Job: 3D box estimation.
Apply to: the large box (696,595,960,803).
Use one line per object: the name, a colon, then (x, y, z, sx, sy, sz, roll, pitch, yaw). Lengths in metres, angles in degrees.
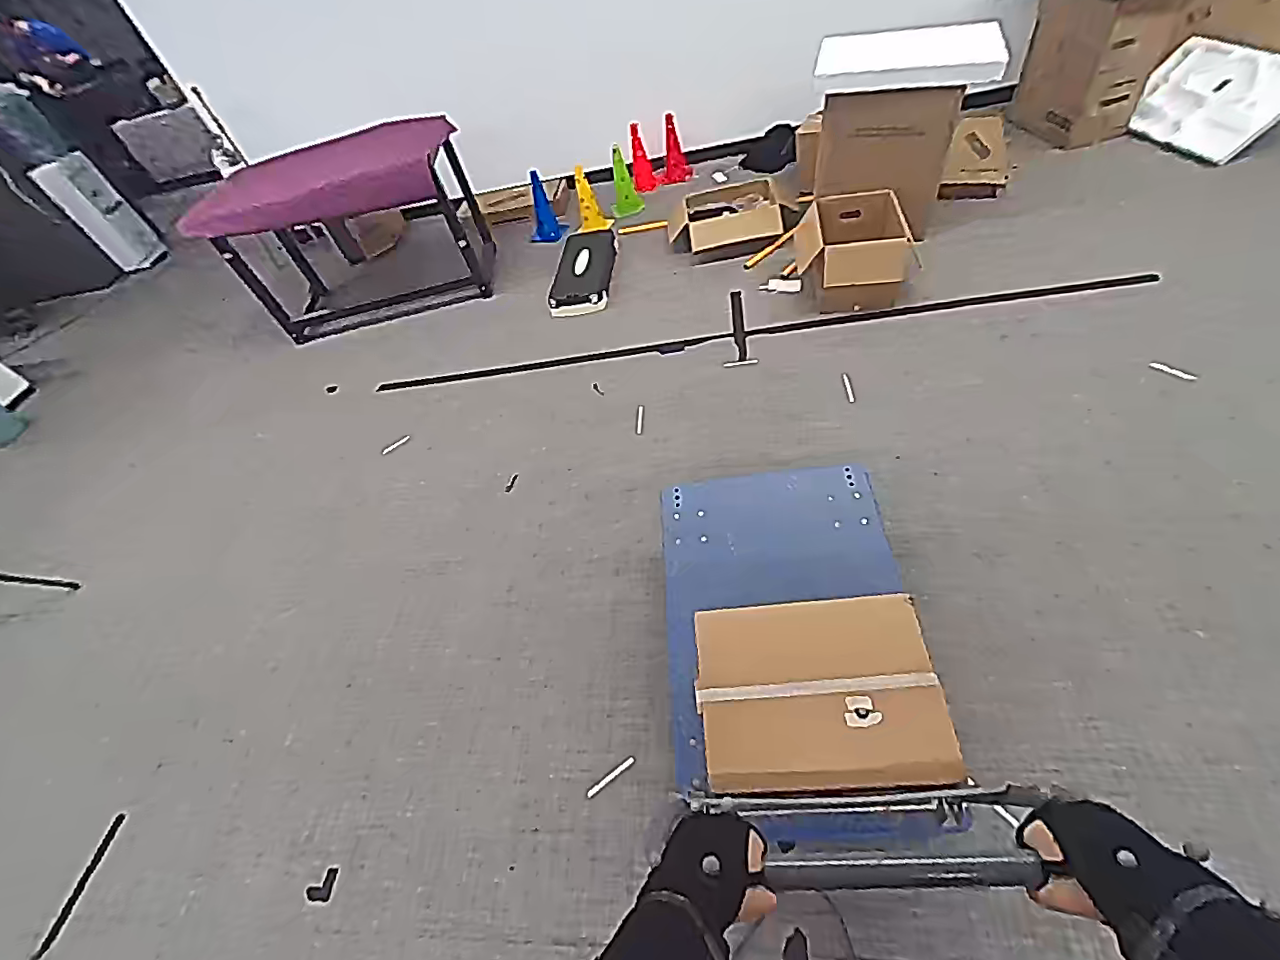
large box: (0.336, 0.453, 1.089, 0.408, 0.320, 0.320, -7, 57, 7)
